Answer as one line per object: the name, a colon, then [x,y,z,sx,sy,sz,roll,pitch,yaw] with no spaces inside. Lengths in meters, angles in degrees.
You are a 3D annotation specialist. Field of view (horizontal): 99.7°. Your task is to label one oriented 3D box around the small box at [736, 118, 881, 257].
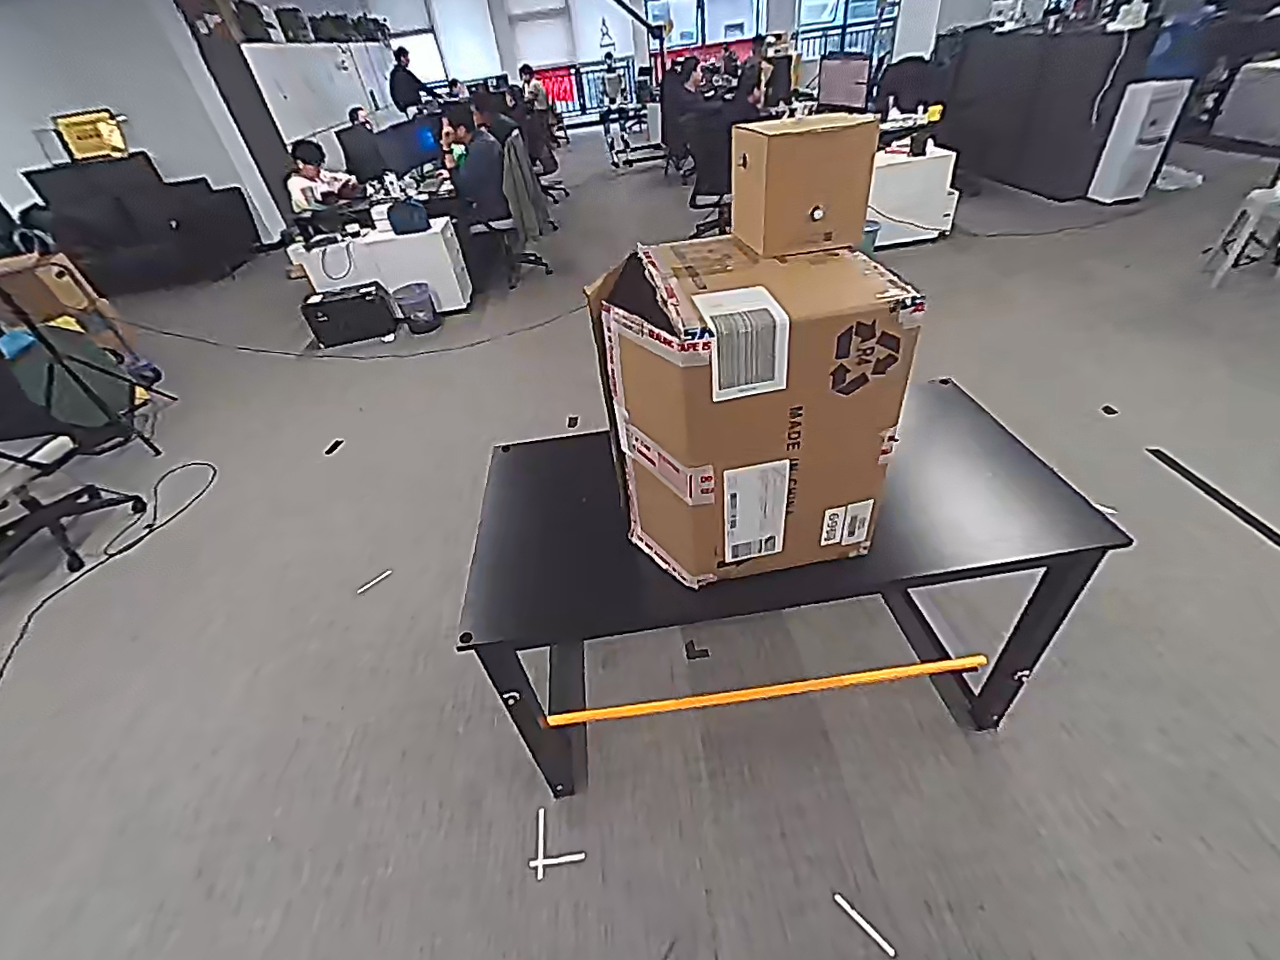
small box: [0.256,-0.472,0.872,0.168,0.176,0.179,-10,38,-3]
